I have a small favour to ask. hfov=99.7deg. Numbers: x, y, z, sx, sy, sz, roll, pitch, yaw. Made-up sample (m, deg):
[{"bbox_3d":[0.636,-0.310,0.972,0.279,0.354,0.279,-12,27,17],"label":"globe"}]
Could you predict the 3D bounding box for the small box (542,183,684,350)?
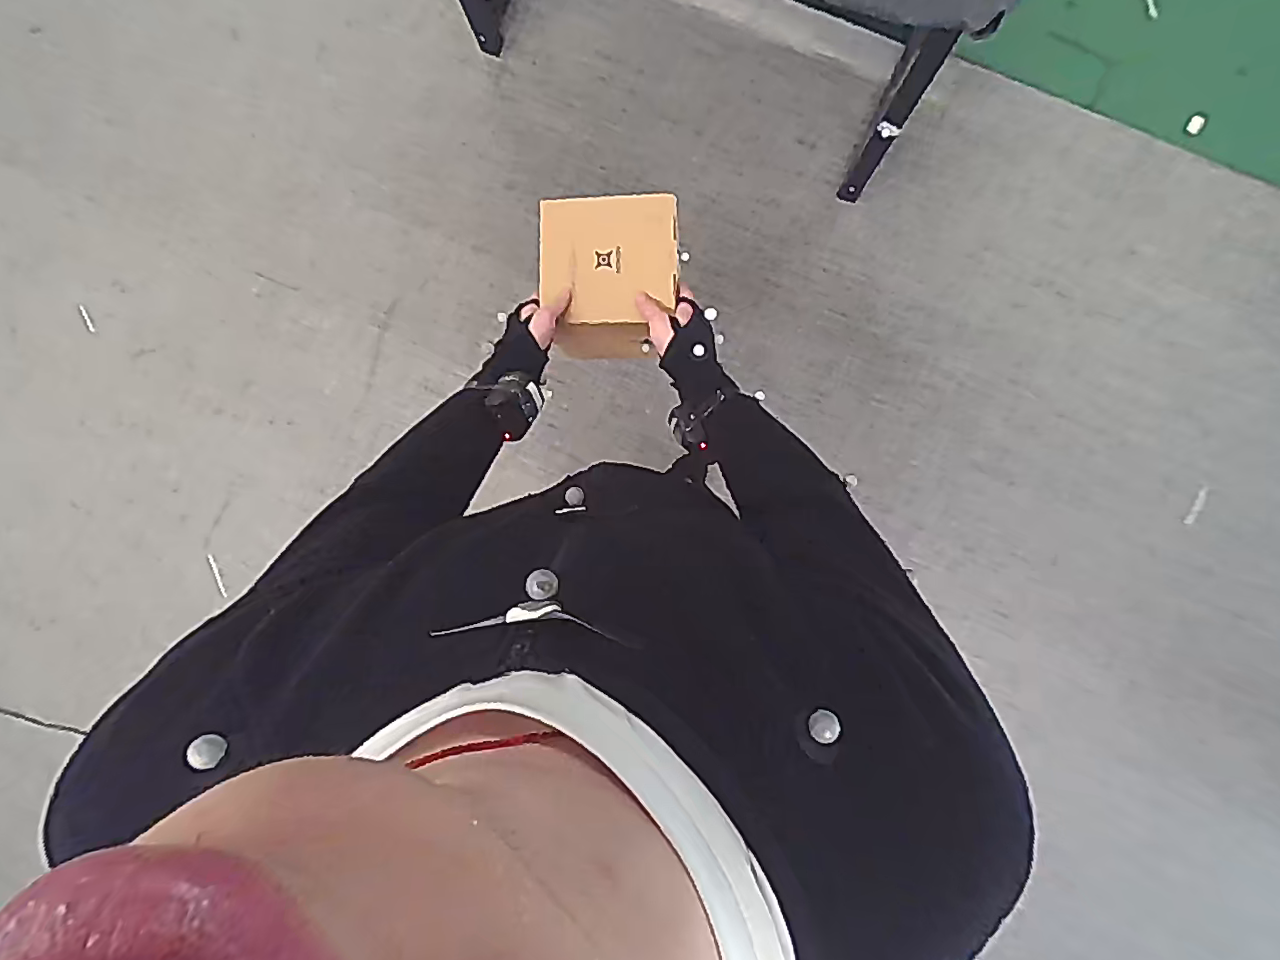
[{"bbox_3d":[-0.029,-0.288,0.760,0.179,0.176,0.168,0,86,7],"label":"small box"}]
